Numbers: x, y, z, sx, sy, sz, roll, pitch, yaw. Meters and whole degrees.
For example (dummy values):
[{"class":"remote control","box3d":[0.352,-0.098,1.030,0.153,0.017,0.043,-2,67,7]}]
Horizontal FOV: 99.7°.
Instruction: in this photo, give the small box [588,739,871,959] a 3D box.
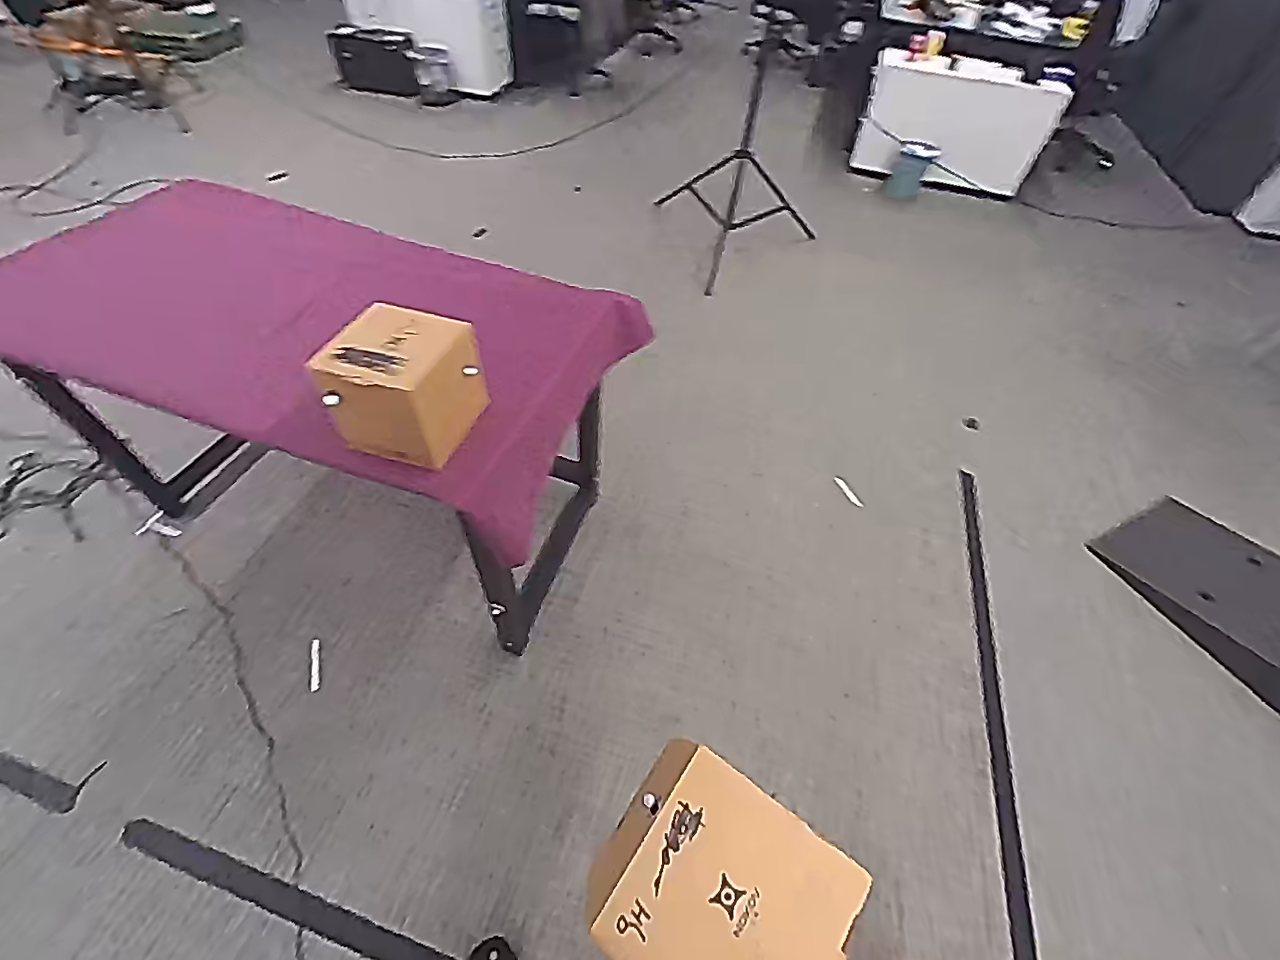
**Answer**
[{"class":"small box","box3d":[0.068,0.363,0.503,0.179,0.176,0.168,35,68,8]}]
